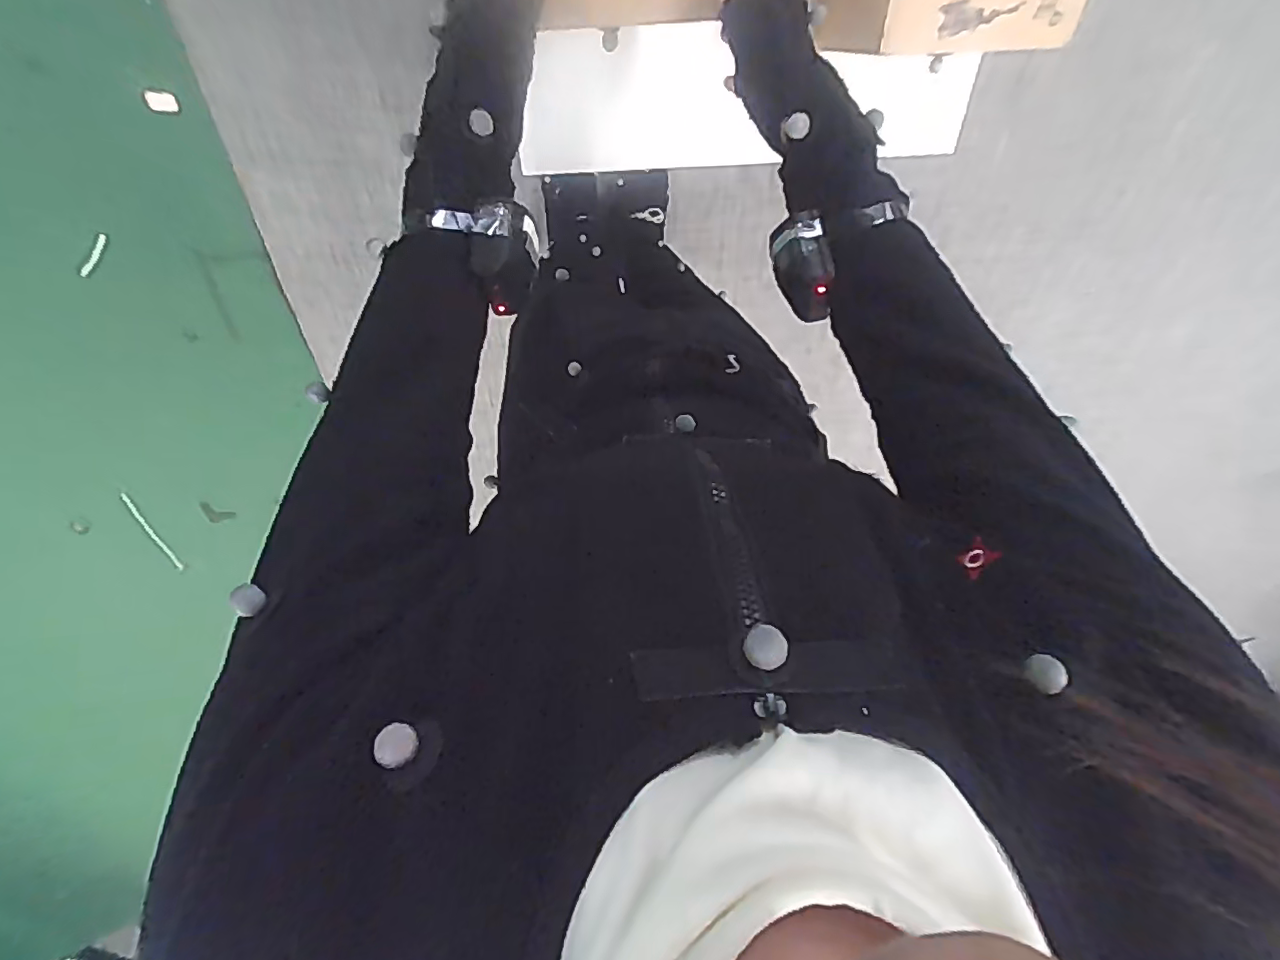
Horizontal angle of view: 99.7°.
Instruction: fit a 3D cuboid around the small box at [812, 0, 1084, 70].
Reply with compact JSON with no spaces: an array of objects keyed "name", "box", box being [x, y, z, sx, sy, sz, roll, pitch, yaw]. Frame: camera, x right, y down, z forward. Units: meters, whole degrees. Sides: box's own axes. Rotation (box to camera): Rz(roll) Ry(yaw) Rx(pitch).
[{"name":"small box","box":[0.261,-0.462,0.459,0.168,0.176,0.179,-6,128,-2]}]
